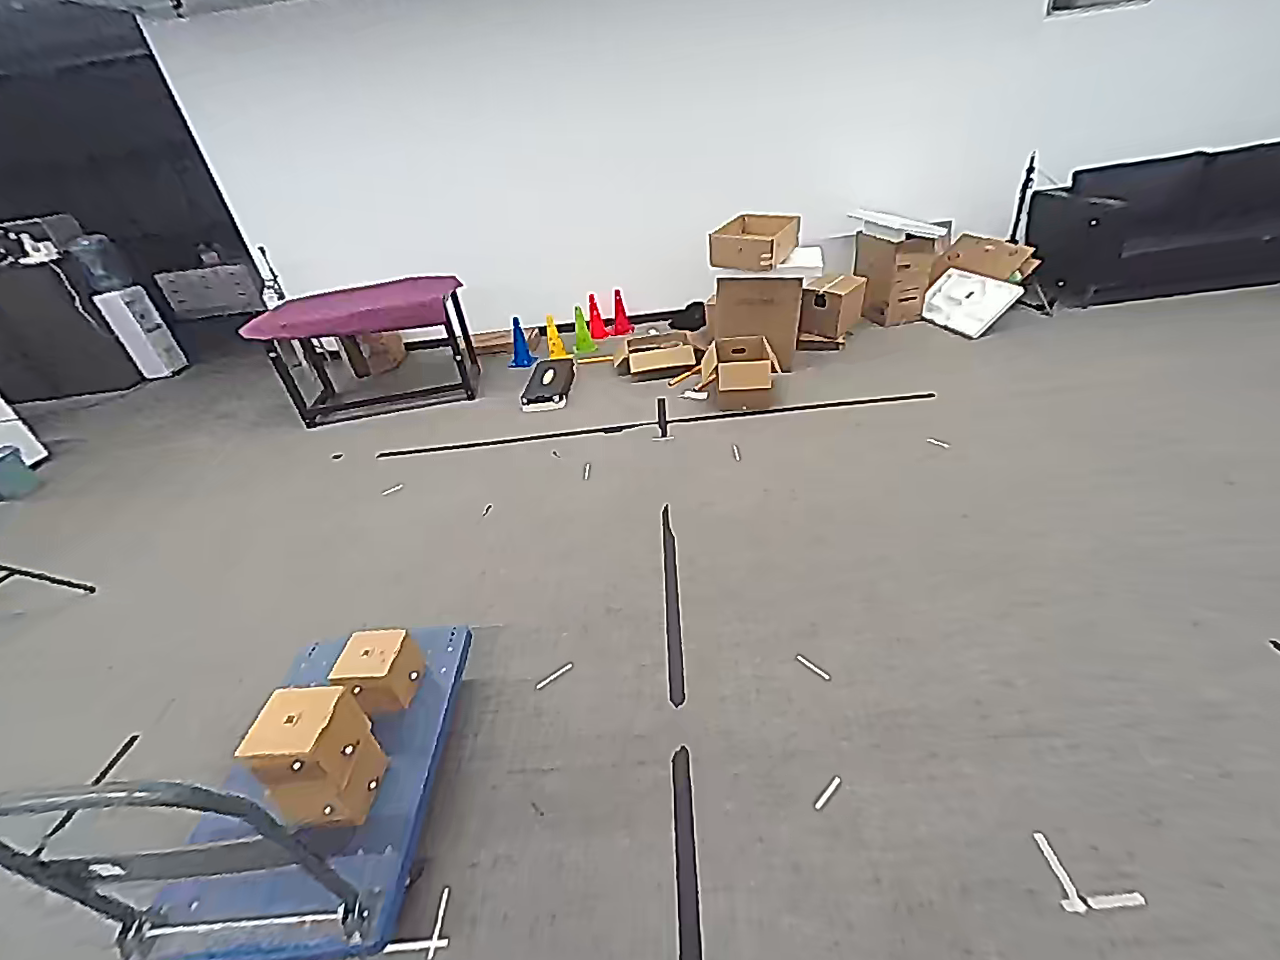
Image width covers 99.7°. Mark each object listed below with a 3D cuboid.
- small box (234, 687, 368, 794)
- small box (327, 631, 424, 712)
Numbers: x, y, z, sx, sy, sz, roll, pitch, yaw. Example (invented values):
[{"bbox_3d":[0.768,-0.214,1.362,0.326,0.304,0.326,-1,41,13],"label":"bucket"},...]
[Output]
[{"bbox_3d":[-0.772,0.605,1.254,0.179,0.176,0.168,-4,34,3],"label":"small box"},{"bbox_3d":[-0.773,0.569,1.600,0.179,0.176,0.168,-4,35,5],"label":"small box"}]
